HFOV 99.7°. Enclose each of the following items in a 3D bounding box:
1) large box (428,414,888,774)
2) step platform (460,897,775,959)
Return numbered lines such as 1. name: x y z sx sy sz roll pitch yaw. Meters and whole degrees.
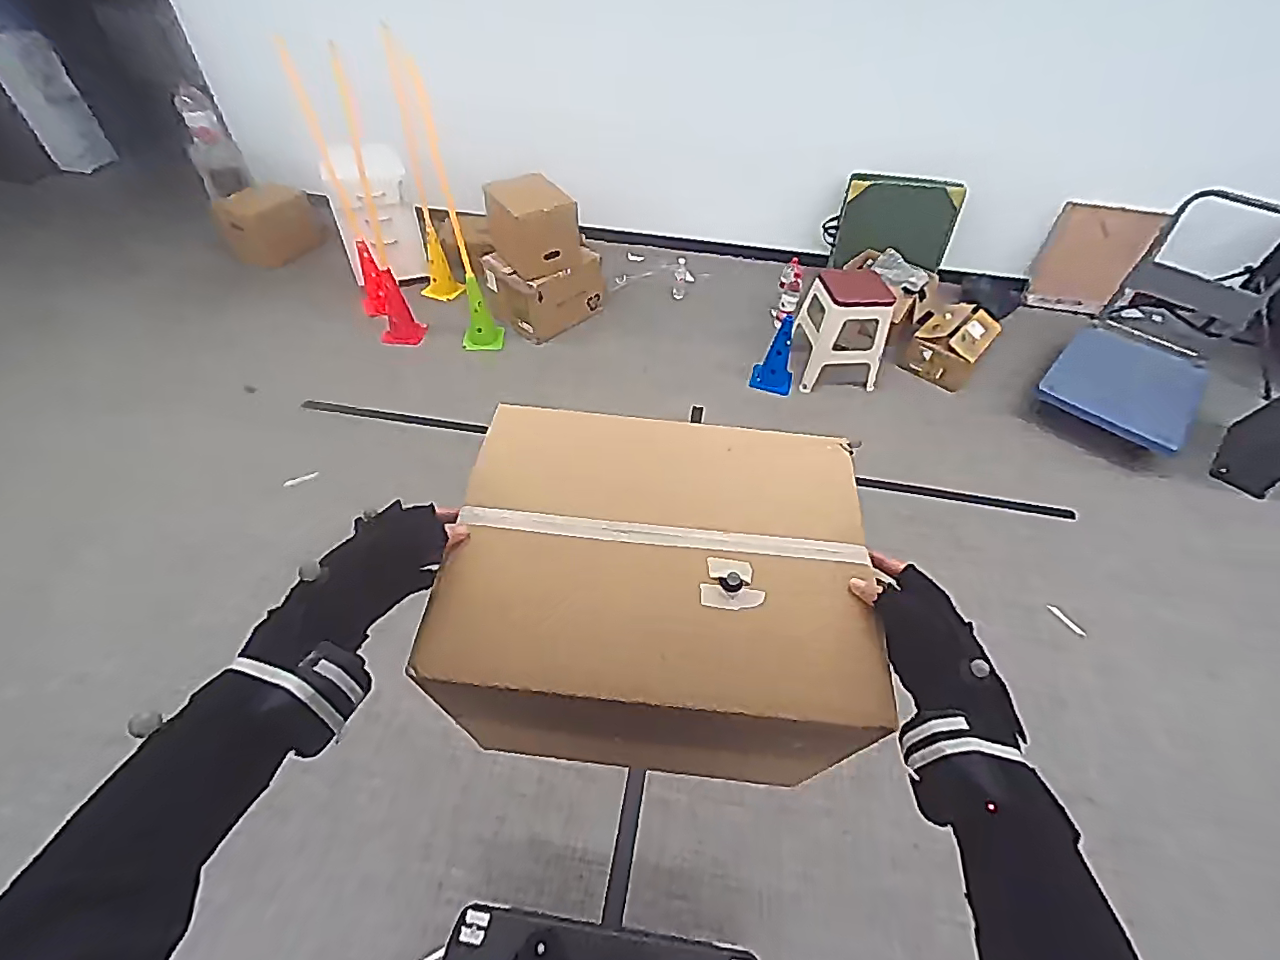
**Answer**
1. large box: 0.017 0.149 0.664 0.408 0.320 0.320 6 54 1
2. step platform: -0.050 1.101 1.134 0.684 0.204 0.286 8 49 2
